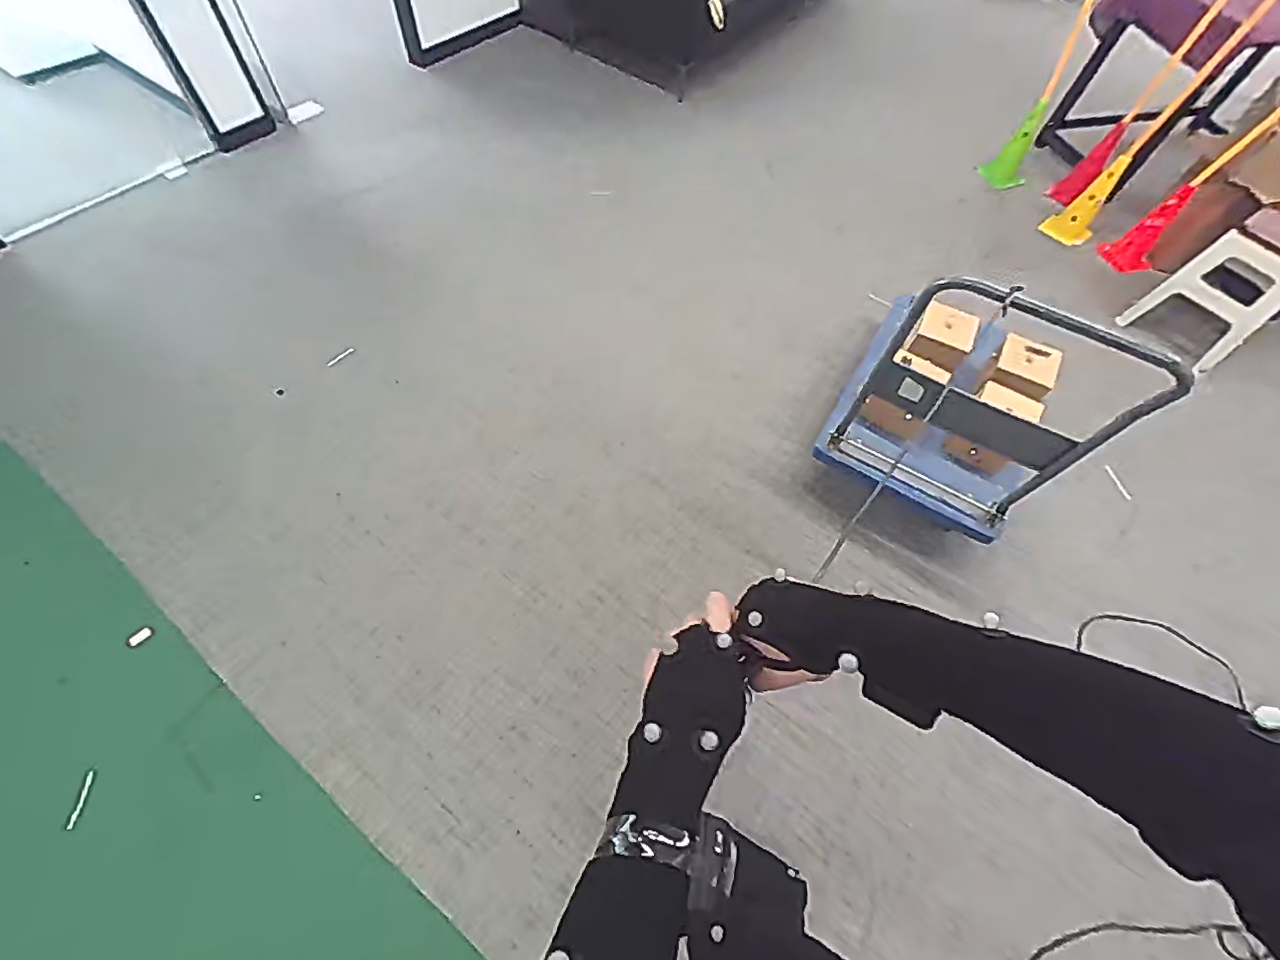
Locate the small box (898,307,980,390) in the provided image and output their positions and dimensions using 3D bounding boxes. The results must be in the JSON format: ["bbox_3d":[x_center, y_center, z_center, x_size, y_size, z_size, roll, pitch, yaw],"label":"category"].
[{"bbox_3d":[0.988,-0.432,1.800,0.168,0.176,0.179,27,62,12],"label":"small box"}]

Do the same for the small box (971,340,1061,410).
[{"bbox_3d":[1.202,-0.309,1.738,0.168,0.176,0.179,28,62,14],"label":"small box"}]

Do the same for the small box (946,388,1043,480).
[{"bbox_3d":[1.060,-0.136,1.628,0.168,0.176,0.179,32,63,15],"label":"small box"}]
